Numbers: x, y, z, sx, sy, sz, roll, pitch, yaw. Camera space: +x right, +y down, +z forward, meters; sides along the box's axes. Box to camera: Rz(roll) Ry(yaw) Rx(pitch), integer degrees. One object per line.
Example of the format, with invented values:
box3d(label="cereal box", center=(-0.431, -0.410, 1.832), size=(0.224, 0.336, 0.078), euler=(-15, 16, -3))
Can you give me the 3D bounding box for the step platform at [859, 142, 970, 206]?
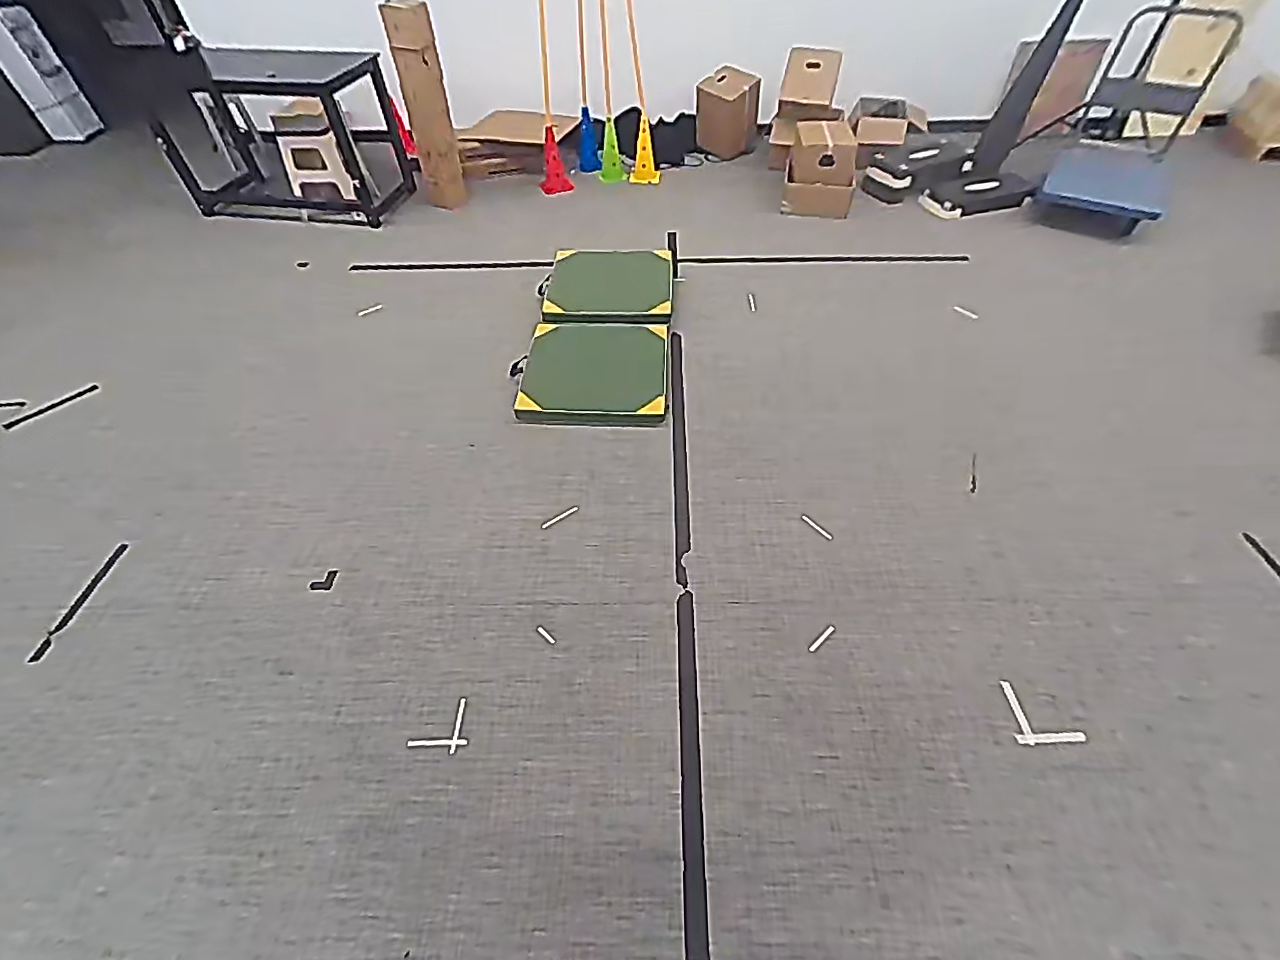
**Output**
box3d(label="step platform", center=(1.761, -1.968, 3.463), size=(0.684, 0.204, 0.286), euler=(-23, 53, -17))
